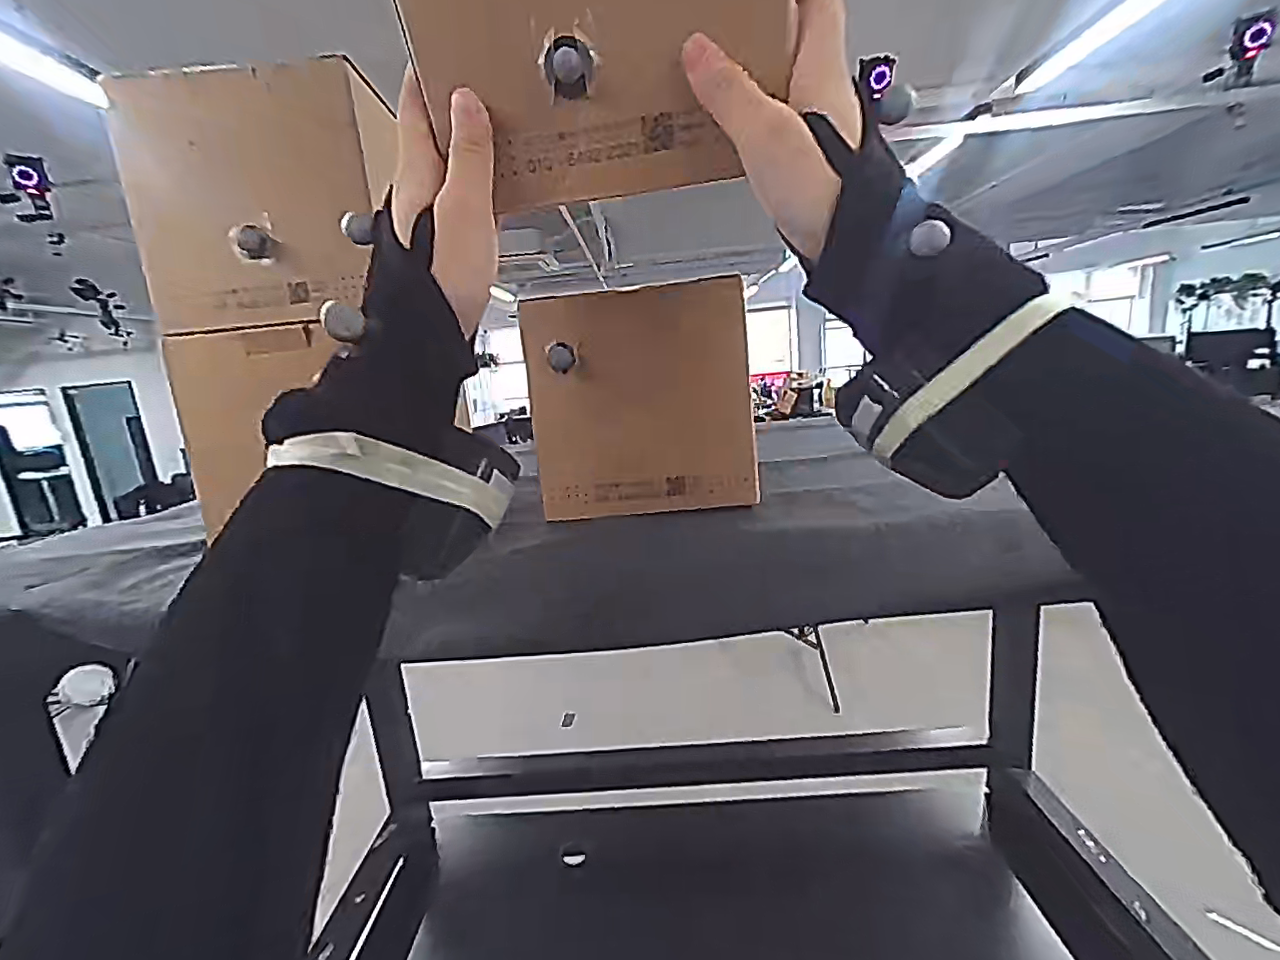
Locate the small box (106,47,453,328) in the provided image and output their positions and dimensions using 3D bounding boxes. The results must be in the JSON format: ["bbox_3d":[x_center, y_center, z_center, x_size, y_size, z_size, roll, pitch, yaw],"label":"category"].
[{"bbox_3d":[-0.267,-0.210,0.450,0.168,0.176,0.179,-6,11,-1],"label":"small box"}]

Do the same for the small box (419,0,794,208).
[{"bbox_3d":[-0.016,-0.252,0.292,0.168,0.176,0.179,-6,31,6],"label":"small box"}]

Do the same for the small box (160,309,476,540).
[{"bbox_3d":[-0.254,-0.048,0.478,0.168,0.176,0.179,-5,11,-2],"label":"small box"}]
